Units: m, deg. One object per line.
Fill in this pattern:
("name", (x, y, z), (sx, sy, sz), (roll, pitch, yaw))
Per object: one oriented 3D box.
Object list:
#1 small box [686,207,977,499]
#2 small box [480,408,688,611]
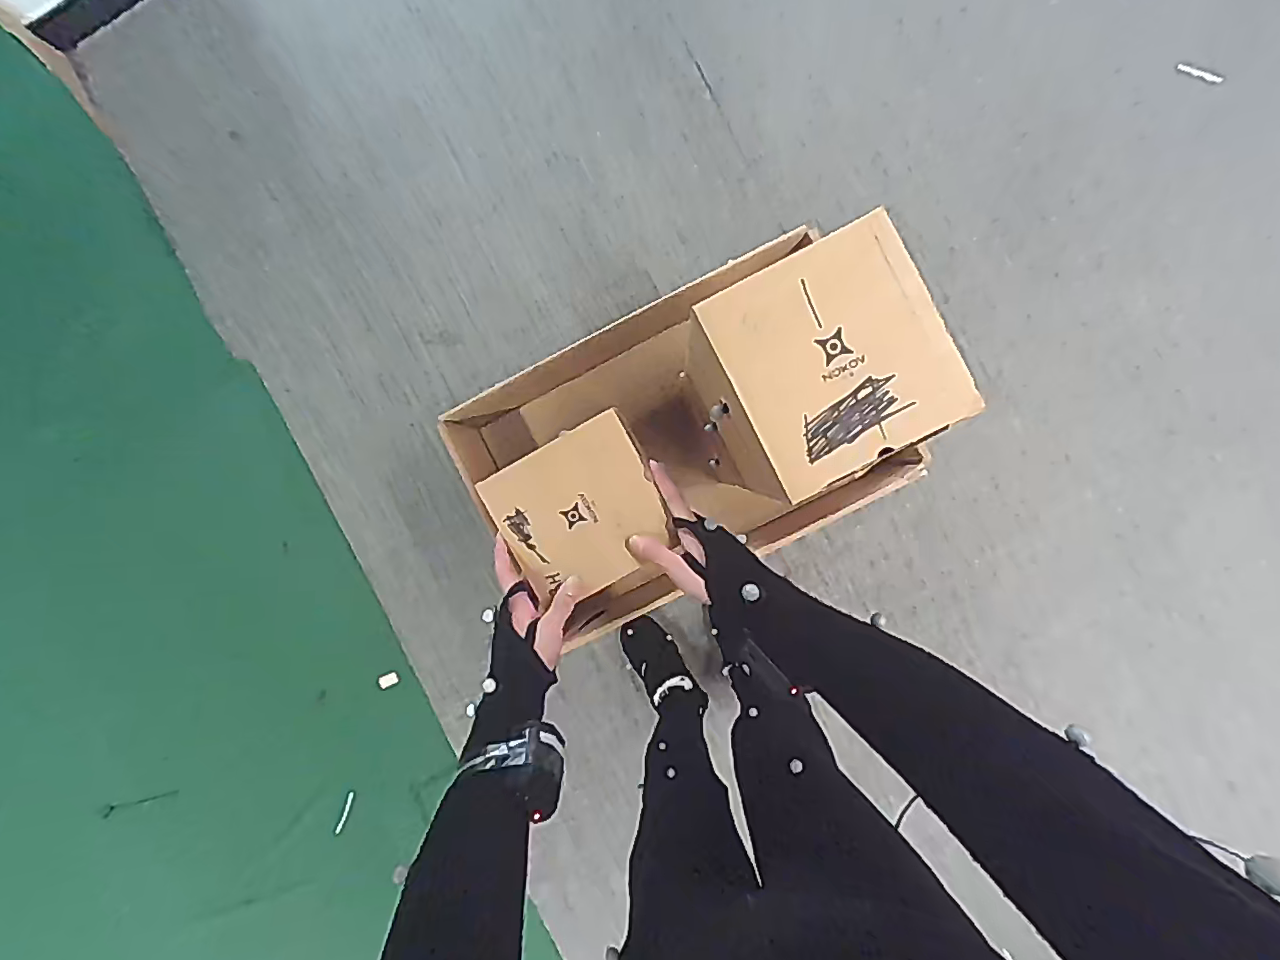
("small box", (0.153, -0.099, 0.495), (0.168, 0.176, 0.179), (-27, 89, 4))
("small box", (-0.060, 0.029, 0.659), (0.179, 0.176, 0.168), (-29, 90, 2))
